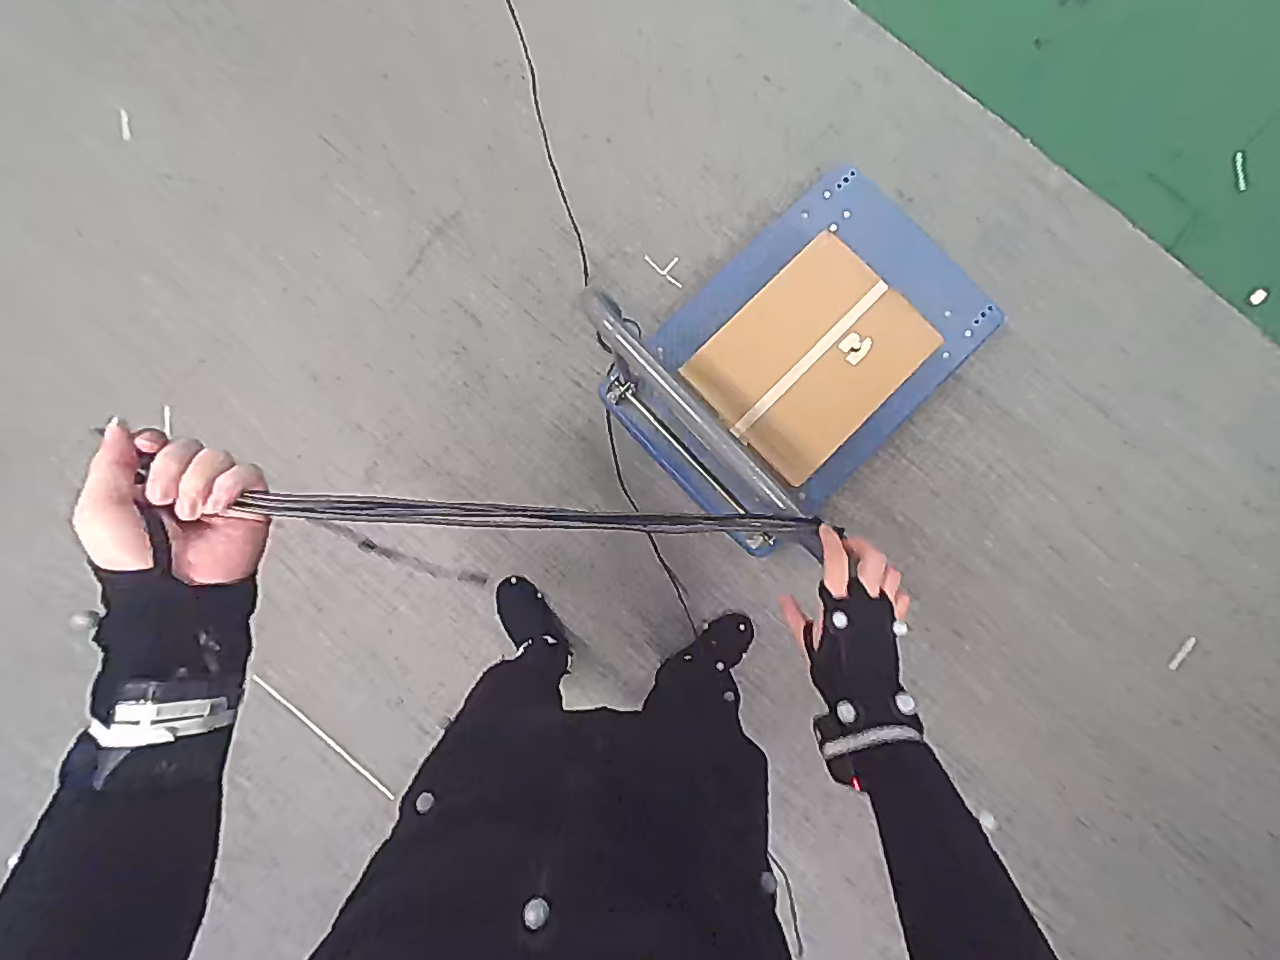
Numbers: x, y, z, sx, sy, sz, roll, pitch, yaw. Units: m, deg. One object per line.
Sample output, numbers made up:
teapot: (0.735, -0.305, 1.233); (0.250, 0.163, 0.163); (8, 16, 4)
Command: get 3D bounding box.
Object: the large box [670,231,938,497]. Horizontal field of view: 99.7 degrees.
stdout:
large box: (0.314, -0.216, 1.153); (0.408, 0.320, 0.320); (-44, 88, -4)
